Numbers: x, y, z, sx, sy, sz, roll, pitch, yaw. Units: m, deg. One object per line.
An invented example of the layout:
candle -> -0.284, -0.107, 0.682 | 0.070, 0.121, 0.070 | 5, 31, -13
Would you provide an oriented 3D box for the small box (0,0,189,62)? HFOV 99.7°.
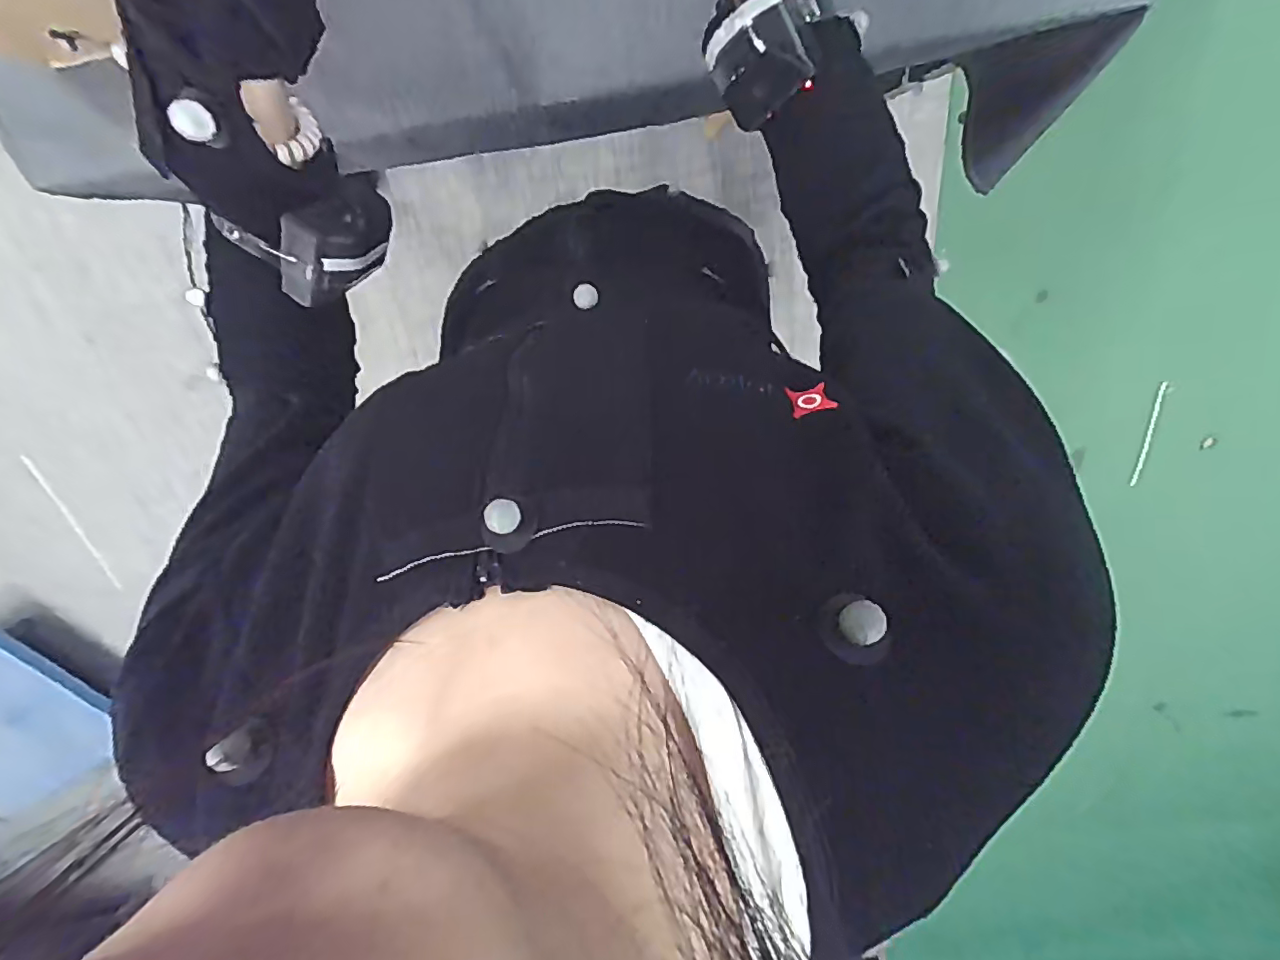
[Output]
small box -> -0.537, -0.480, 0.438 | 0.168, 0.176, 0.179 | -9, 116, 3
